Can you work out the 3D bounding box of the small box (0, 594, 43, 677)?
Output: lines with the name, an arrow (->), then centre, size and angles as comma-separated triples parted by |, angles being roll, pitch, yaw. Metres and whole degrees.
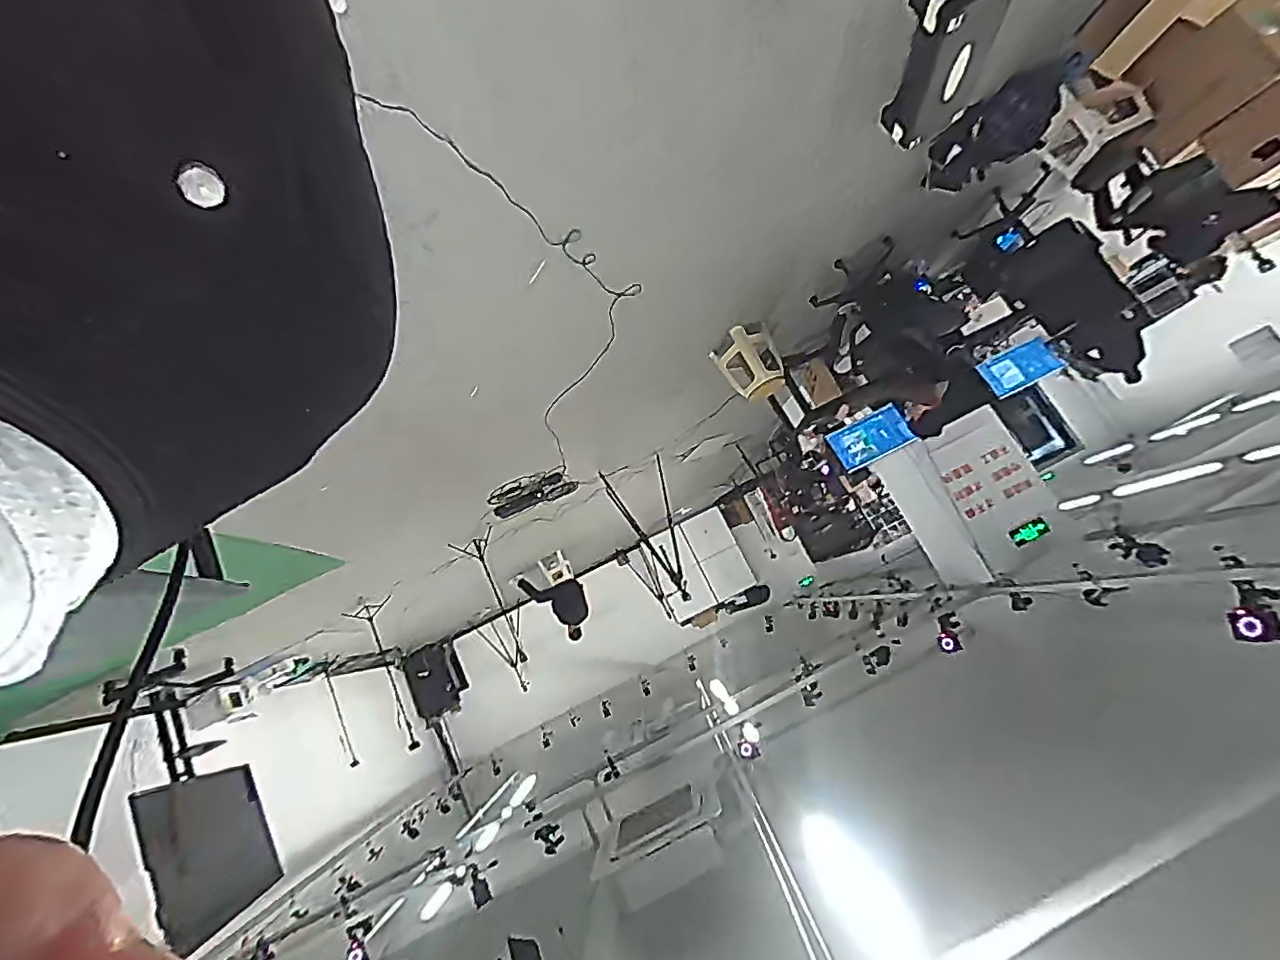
small box -> -1.599, 0.384, 1.286 | 0.179, 0.176, 0.168 | -19, 163, -28
